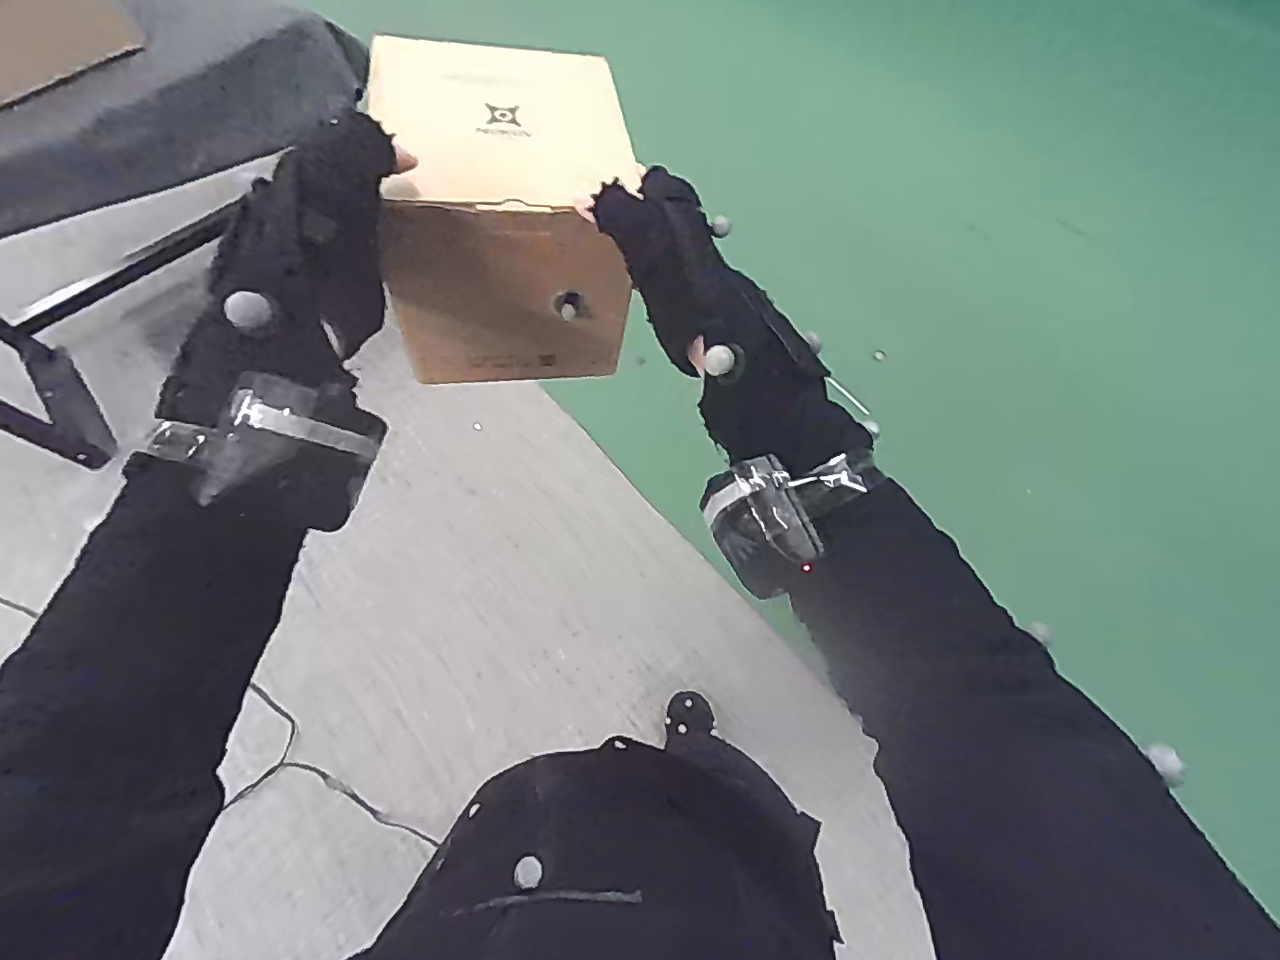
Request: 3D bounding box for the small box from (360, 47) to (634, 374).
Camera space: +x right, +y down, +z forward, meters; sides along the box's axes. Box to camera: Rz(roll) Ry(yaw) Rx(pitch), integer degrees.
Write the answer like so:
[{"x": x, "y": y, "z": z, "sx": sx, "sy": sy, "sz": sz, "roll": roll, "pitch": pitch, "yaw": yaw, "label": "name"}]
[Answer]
[{"x": -0.111, "y": -0.198, "z": 0.431, "sx": 0.168, "sy": 0.176, "sz": 0.179, "roll": -6, "pitch": 62, "yaw": -15, "label": "small box"}]
